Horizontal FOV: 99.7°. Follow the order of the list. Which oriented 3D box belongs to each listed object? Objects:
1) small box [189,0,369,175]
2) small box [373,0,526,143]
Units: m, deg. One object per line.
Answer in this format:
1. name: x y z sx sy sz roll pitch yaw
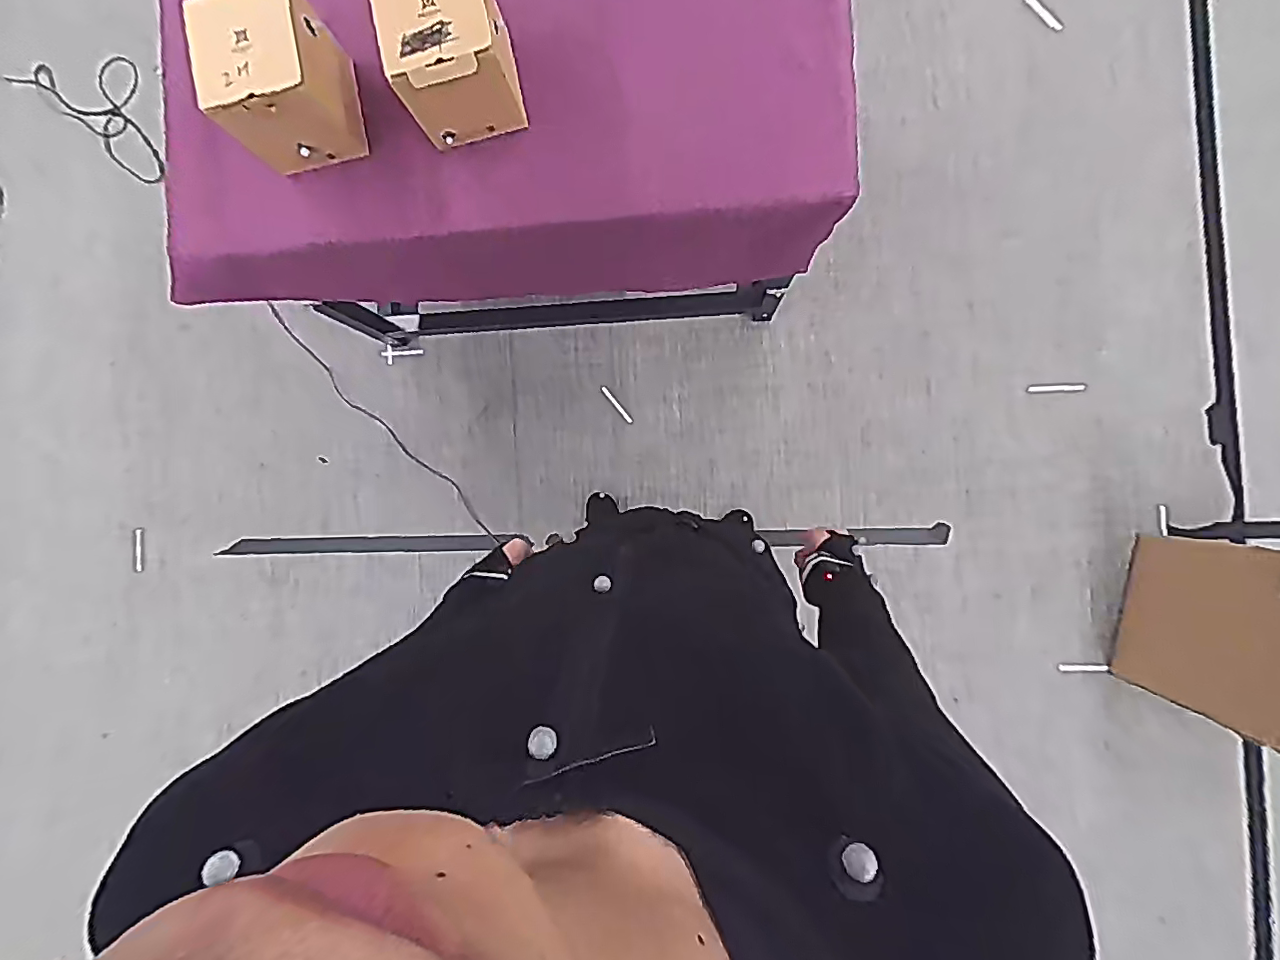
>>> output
1. small box: -0.574 -0.641 0.879 0.168 0.176 0.179 -11 89 5
2. small box: -0.294 -0.673 0.859 0.168 0.176 0.179 -12 87 4
